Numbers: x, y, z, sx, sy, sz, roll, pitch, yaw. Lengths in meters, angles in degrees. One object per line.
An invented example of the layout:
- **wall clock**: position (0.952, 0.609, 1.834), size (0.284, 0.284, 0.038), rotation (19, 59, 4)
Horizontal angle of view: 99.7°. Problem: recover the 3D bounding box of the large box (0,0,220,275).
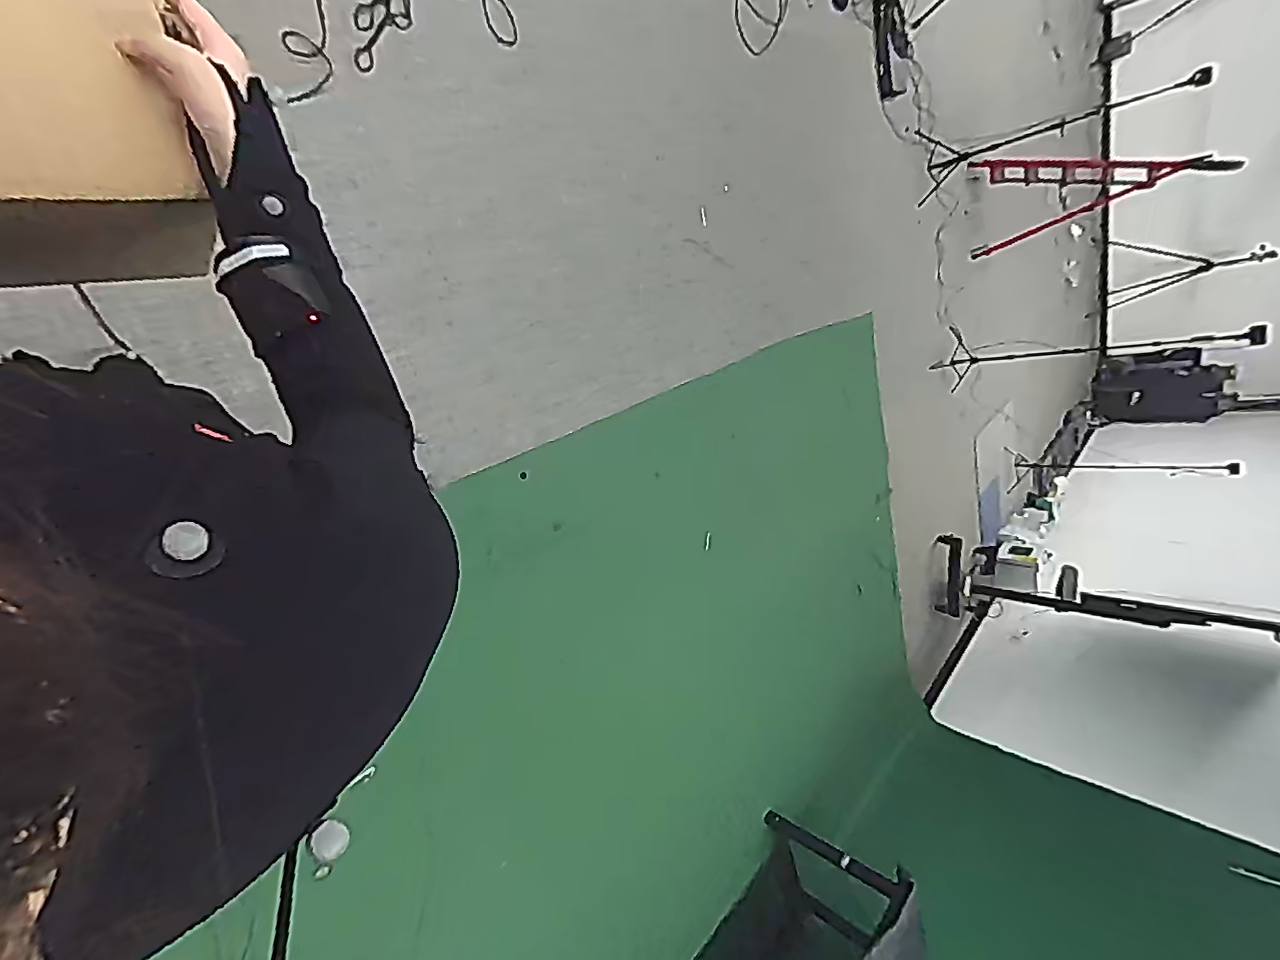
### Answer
- **large box**: position (-0.597, -0.324, 0.382), size (0.408, 0.320, 0.320), rotation (-22, 109, -35)
